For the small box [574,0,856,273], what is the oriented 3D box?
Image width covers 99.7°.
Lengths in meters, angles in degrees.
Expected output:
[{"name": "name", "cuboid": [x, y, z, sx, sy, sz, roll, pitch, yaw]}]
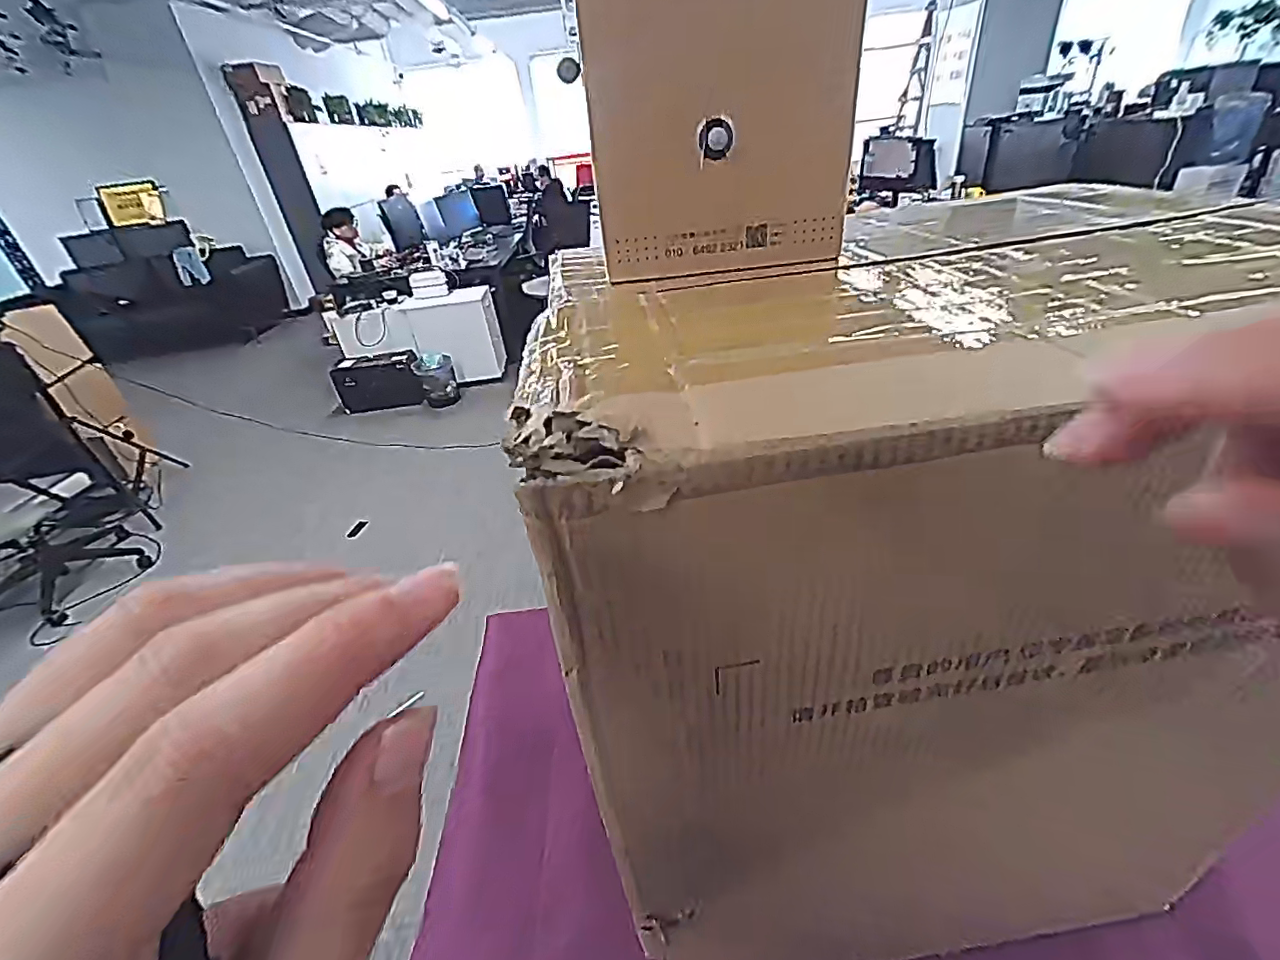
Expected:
[{"name": "small box", "cuboid": [0.048, -0.259, 0.406, 0.168, 0.176, 0.179, -6, 32, 0]}]
